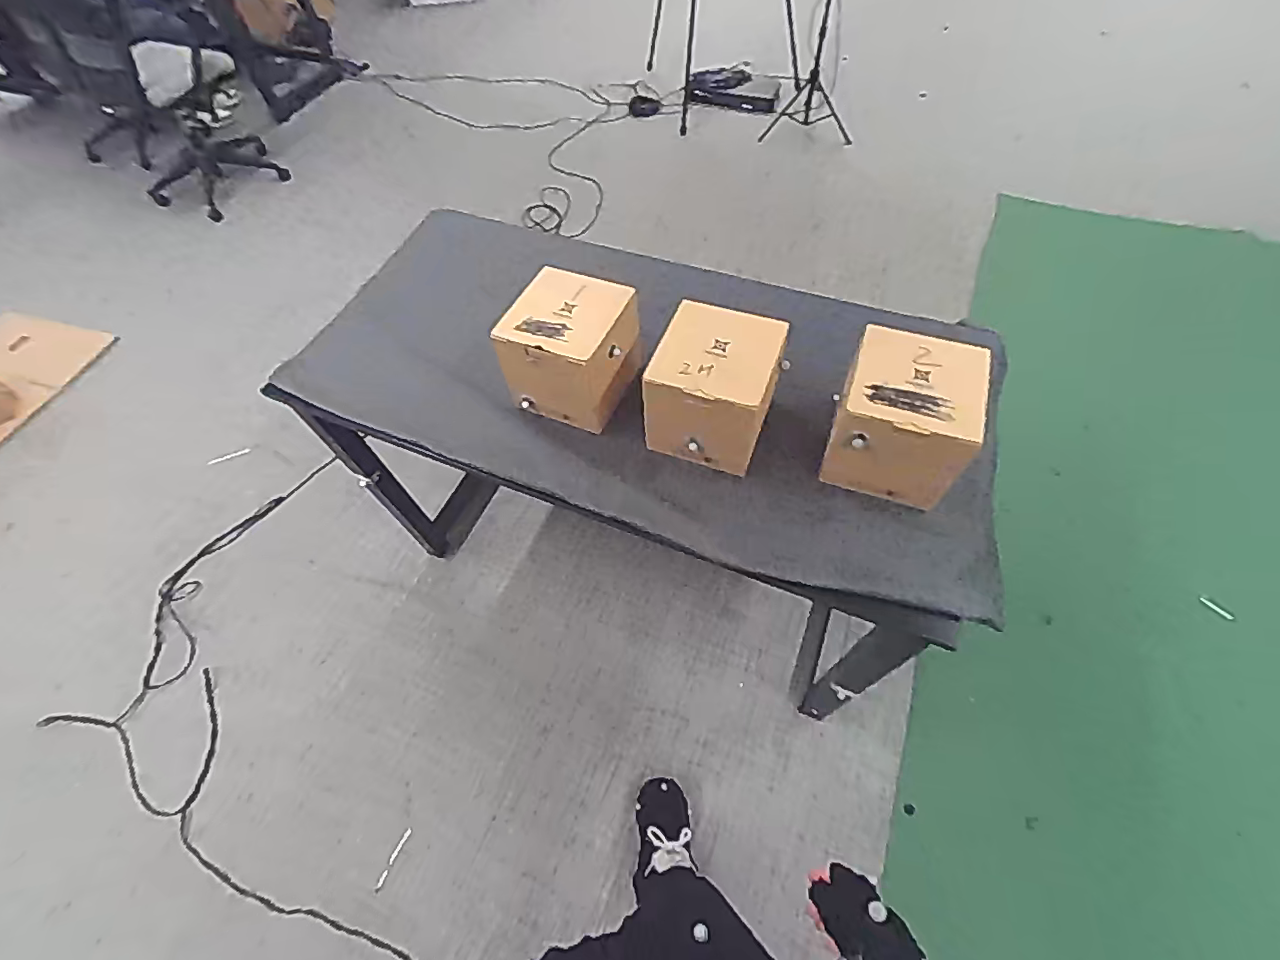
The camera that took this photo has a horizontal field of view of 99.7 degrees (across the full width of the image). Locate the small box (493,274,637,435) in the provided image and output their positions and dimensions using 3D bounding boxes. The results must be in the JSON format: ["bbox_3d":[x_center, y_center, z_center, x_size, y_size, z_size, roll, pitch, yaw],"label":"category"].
[{"bbox_3d":[-0.109,-0.203,0.892,0.168,0.176,0.179,19,60,14],"label":"small box"}]

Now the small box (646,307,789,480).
[{"bbox_3d":[0.115,-0.131,0.833,0.168,0.176,0.179,17,60,14],"label":"small box"}]
